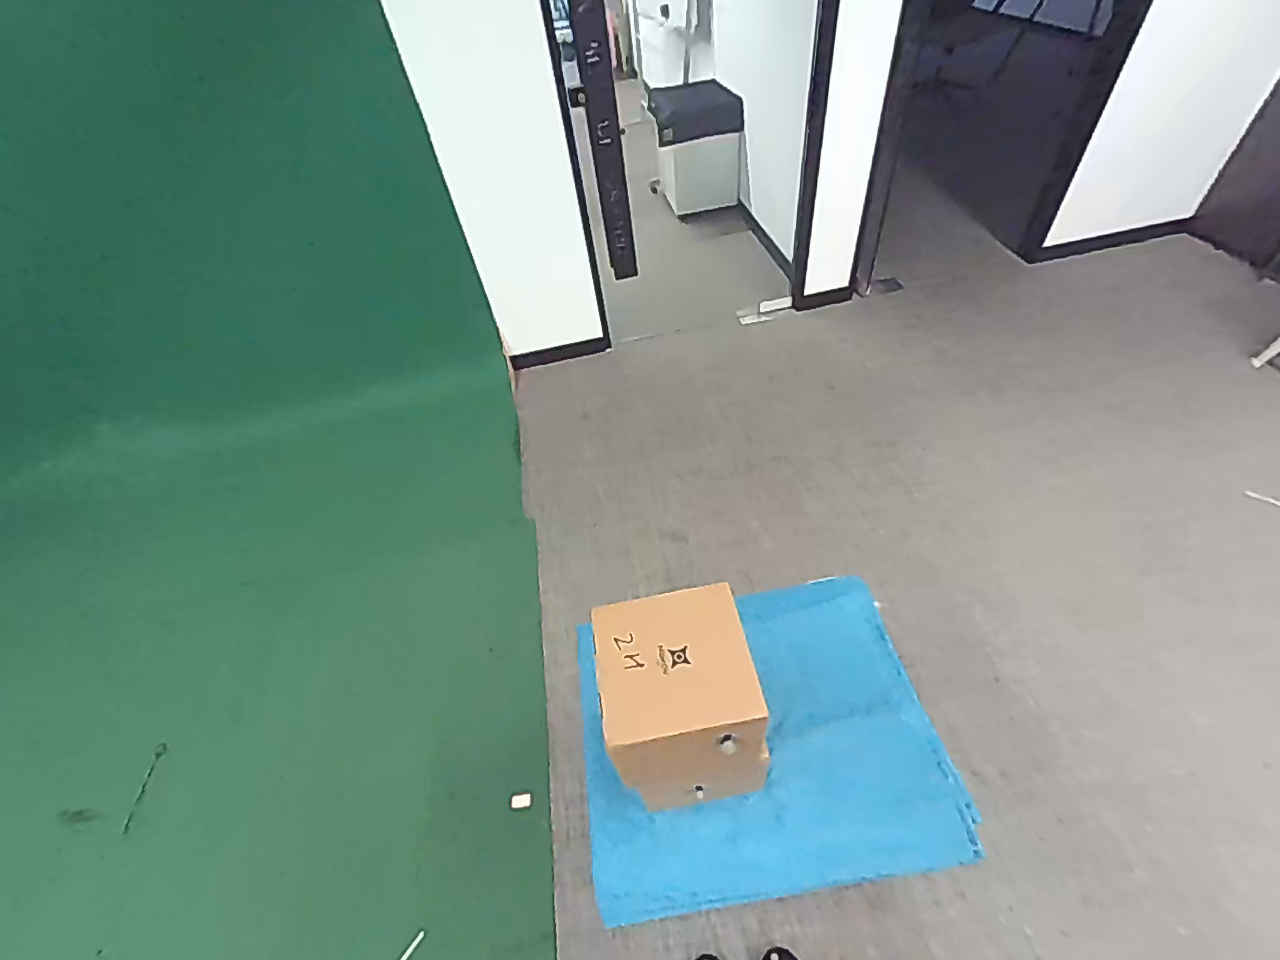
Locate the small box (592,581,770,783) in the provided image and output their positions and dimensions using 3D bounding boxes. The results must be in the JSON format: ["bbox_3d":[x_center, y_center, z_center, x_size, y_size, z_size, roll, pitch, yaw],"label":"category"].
[{"bbox_3d":[0.045,0.249,0.660,0.179,0.176,0.168,-11,47,-1],"label":"small box"}]

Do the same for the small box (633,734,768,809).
[{"bbox_3d":[0.073,0.355,0.783,0.179,0.176,0.168,-11,47,-1],"label":"small box"}]
